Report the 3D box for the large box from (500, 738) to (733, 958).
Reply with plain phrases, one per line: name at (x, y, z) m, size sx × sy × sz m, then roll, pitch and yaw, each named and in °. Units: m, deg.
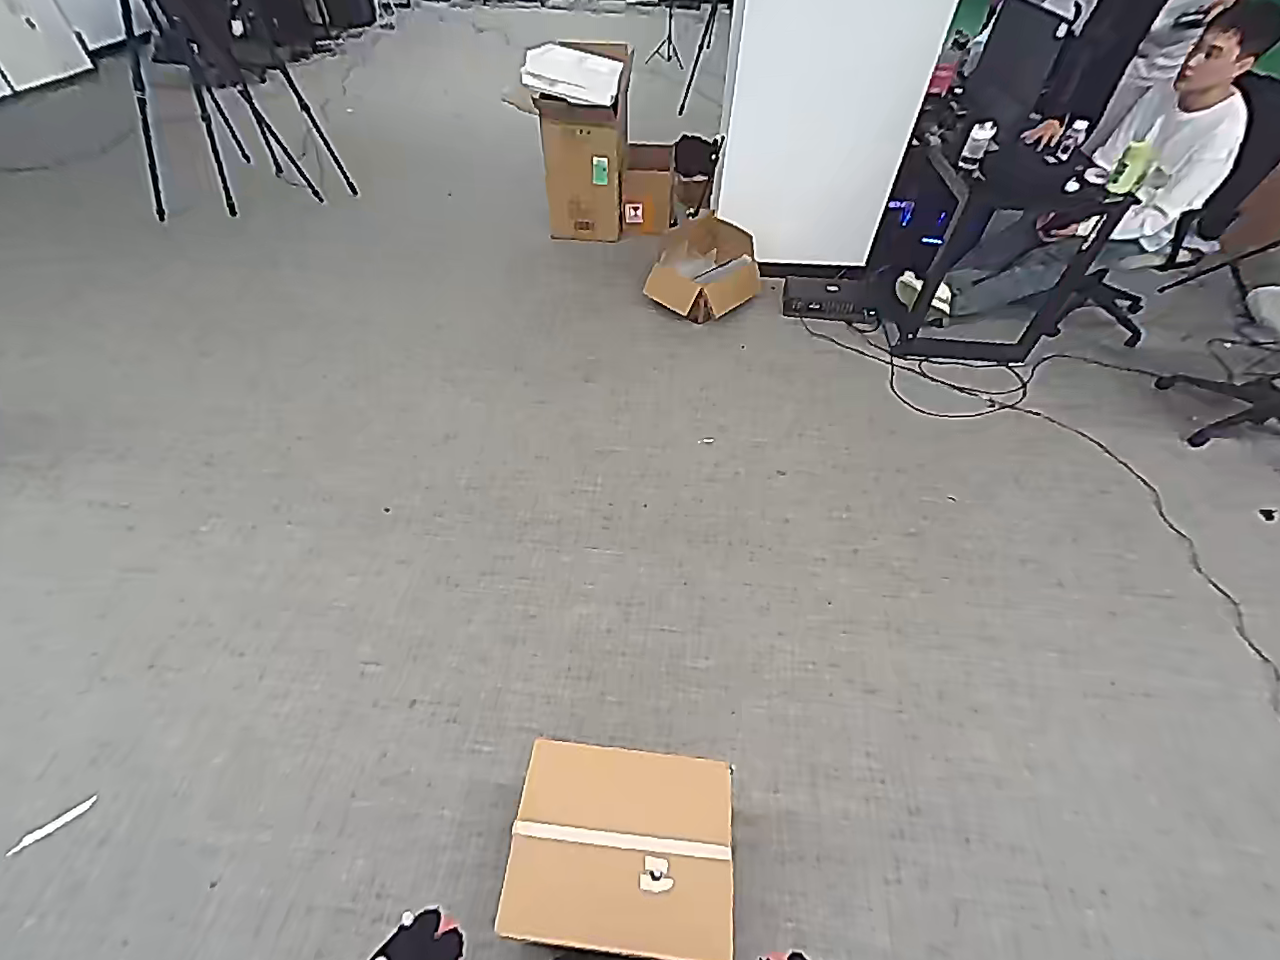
large box at (-0.036, 0.761, 1.115) m, size 0.408 × 0.320 × 0.320 m, roll 6°, pitch 49°, yaw 2°
